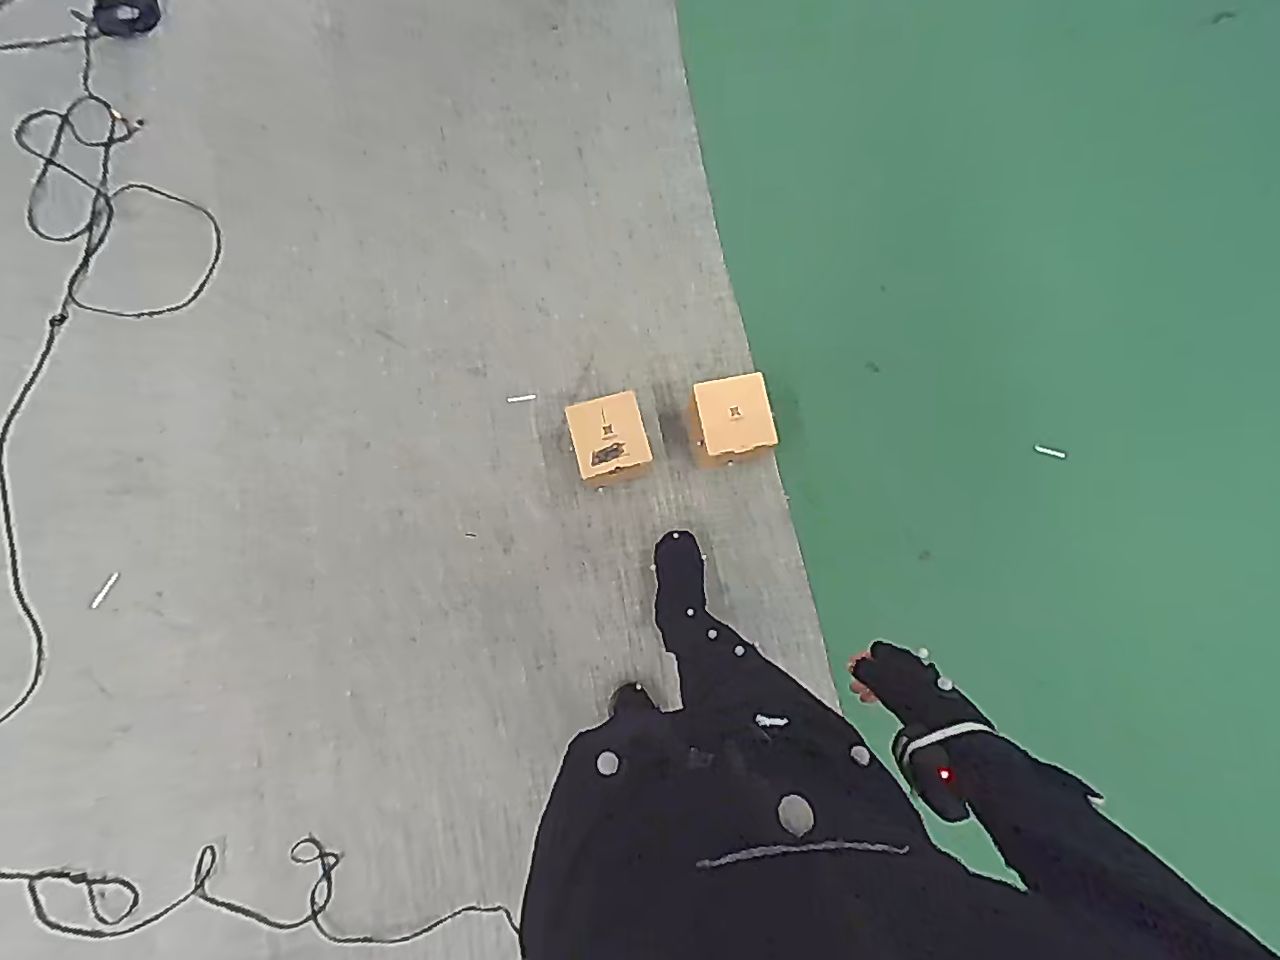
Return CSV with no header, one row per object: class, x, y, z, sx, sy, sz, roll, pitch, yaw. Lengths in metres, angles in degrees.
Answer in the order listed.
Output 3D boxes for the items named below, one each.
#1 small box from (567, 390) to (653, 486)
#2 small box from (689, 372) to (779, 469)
small box,-0.069,-0.092,1.303,0.168,0.176,0.179,-15,79,-4
small box,0.220,-0.140,1.317,0.168,0.176,0.179,-11,80,-2
